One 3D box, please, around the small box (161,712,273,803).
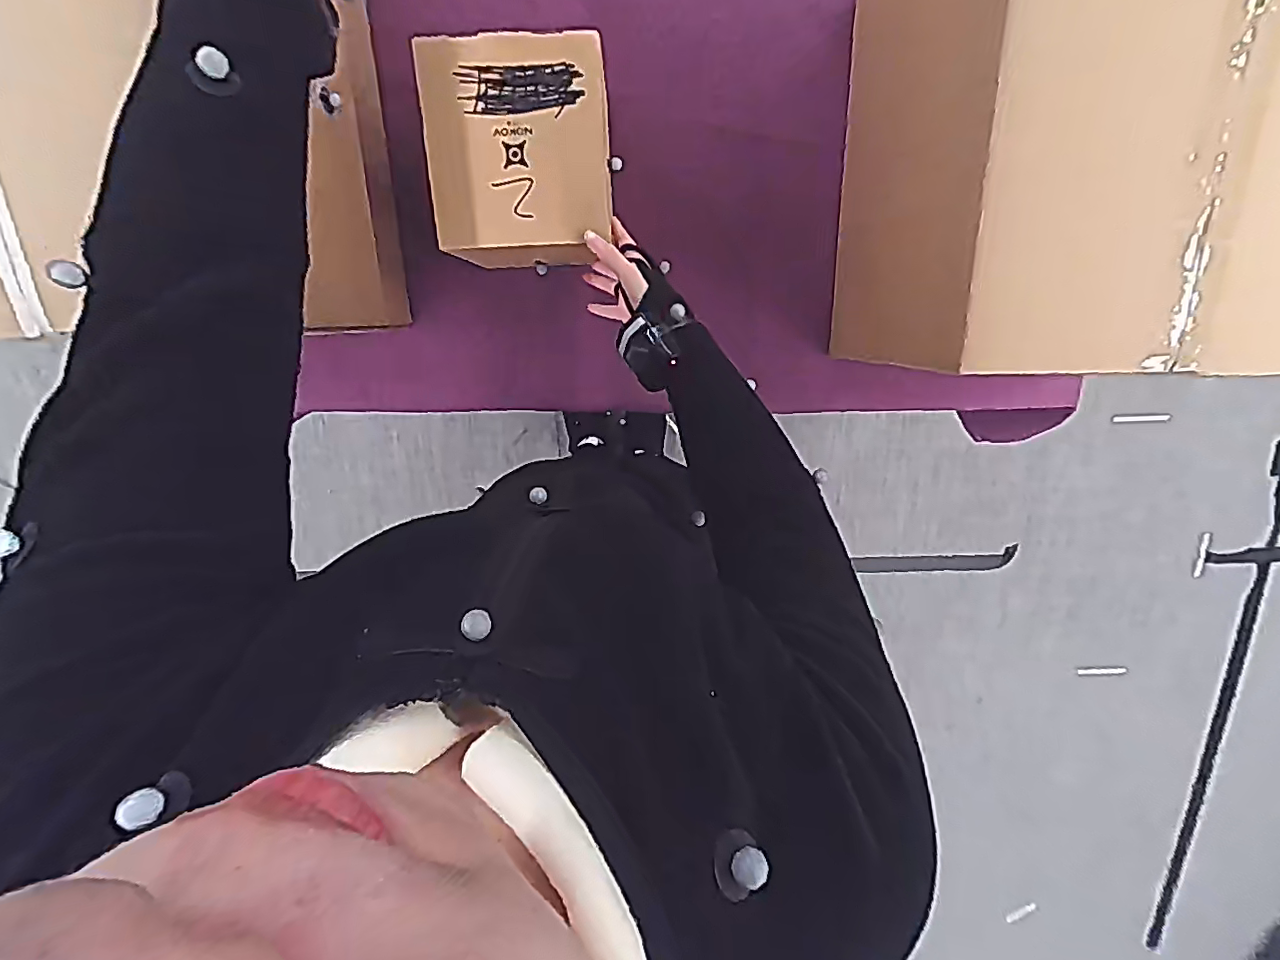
[{"bbox_3d":[-1.251,0.819,1.597,0.168,0.176,0.179,2,126,18],"label":"small box"}]
